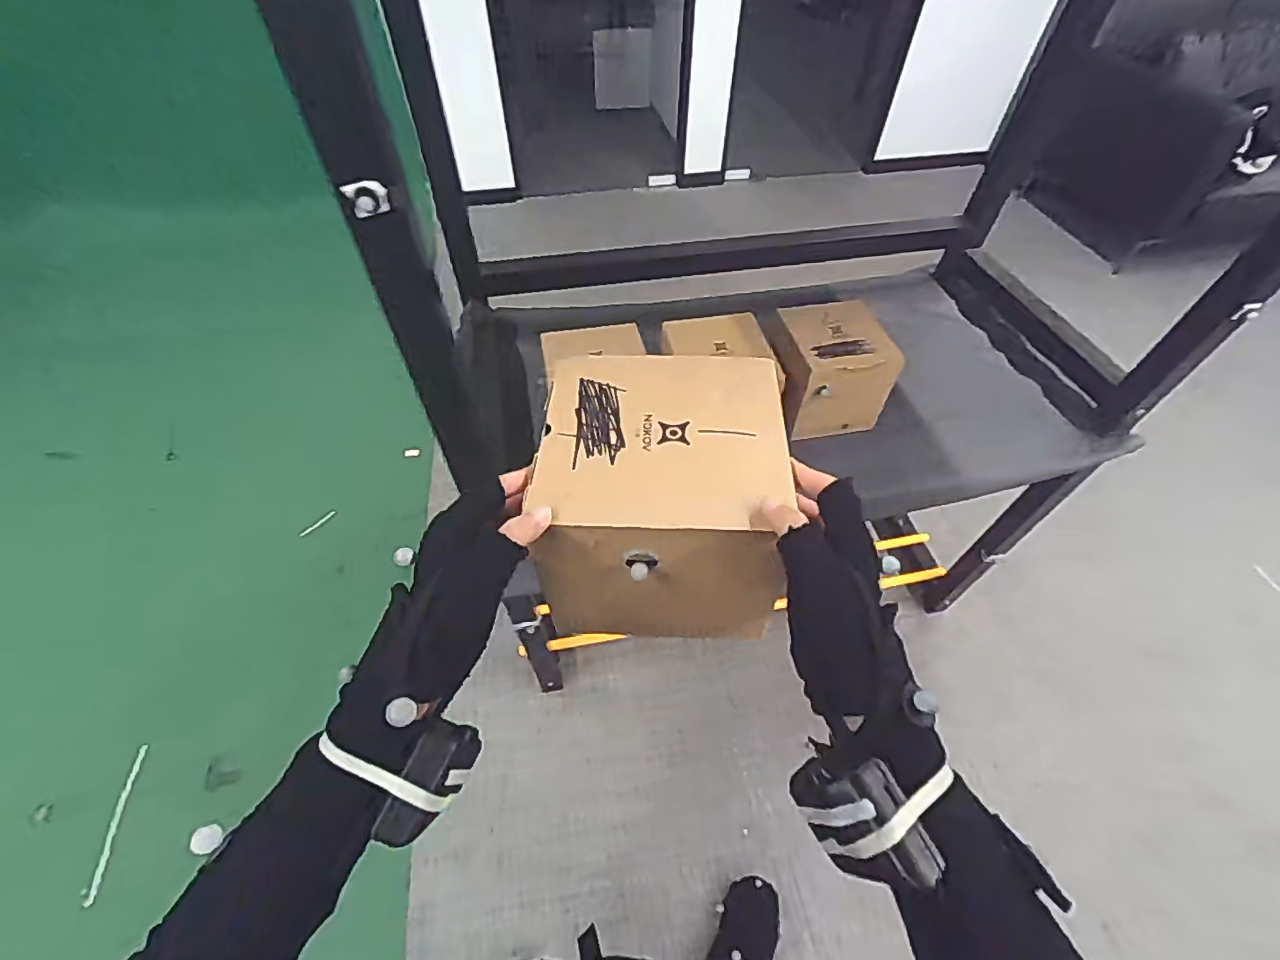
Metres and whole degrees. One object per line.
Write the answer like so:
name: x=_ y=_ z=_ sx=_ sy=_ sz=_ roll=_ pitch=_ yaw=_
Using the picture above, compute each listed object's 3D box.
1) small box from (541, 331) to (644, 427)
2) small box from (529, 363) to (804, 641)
small box: x=-0.076 y=-0.132 z=0.940 sx=0.168 sy=0.176 sz=0.179 roll=-9 pitch=52 yaw=-8
small box: x=0.022 y=0.022 z=0.447 sx=0.179 sy=0.176 sz=0.168 roll=2 pitch=51 yaw=2
